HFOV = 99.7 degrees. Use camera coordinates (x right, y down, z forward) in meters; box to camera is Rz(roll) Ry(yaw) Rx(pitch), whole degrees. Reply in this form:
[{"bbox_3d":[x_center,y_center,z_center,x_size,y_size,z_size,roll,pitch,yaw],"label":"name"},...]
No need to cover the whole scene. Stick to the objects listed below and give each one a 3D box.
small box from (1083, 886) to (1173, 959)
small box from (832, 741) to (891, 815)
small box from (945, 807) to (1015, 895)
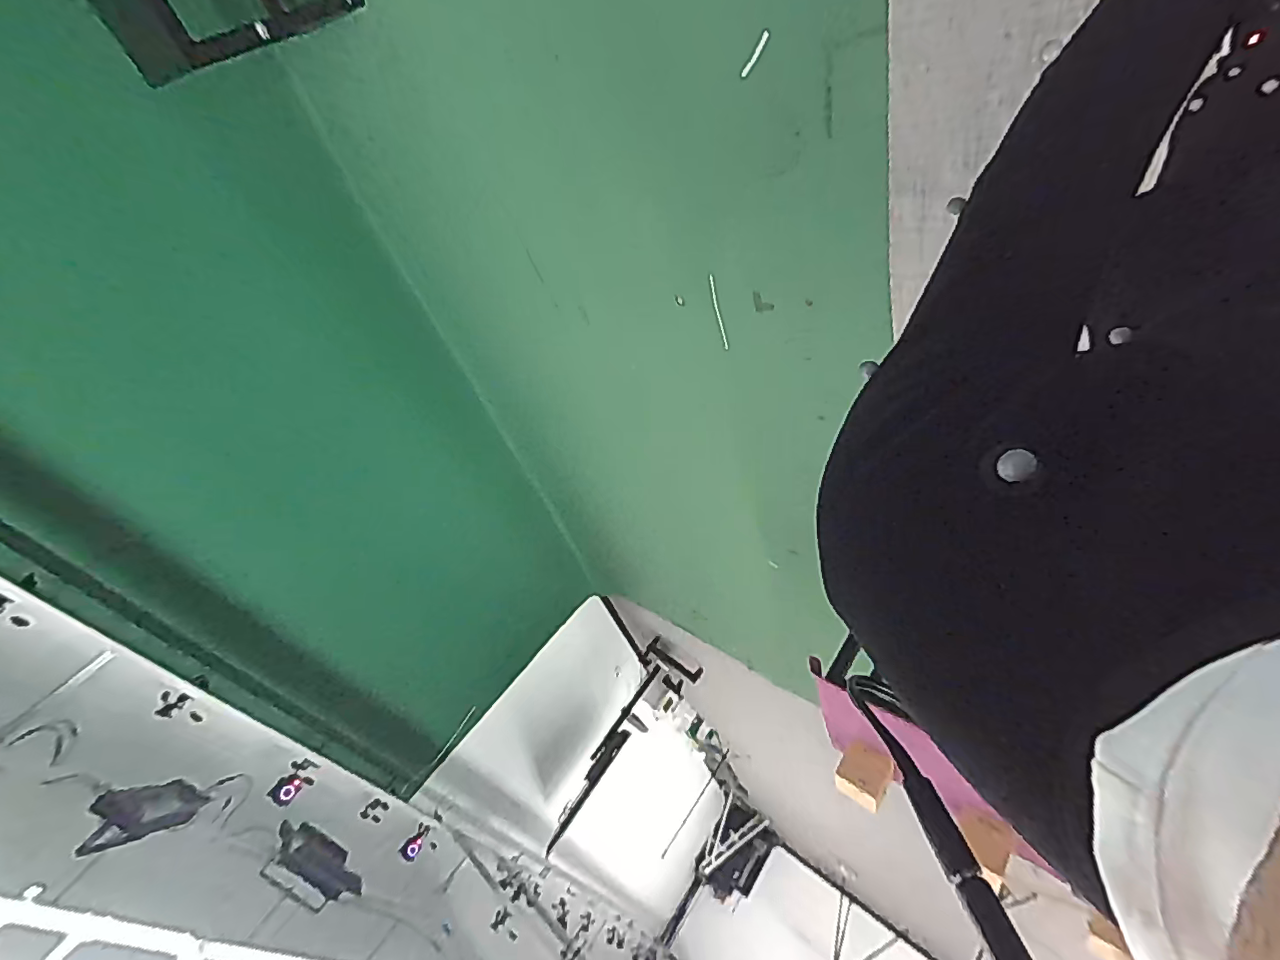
[{"bbox_3d":[1.453,1.361,1.611,0.168,0.176,0.179,16,143,44],"label":"small box"},{"bbox_3d":[0.878,1.172,2.133,0.168,0.176,0.179,19,145,37],"label":"small box"},{"bbox_3d":[1.183,1.287,1.881,0.168,0.176,0.179,17,143,40],"label":"small box"}]
